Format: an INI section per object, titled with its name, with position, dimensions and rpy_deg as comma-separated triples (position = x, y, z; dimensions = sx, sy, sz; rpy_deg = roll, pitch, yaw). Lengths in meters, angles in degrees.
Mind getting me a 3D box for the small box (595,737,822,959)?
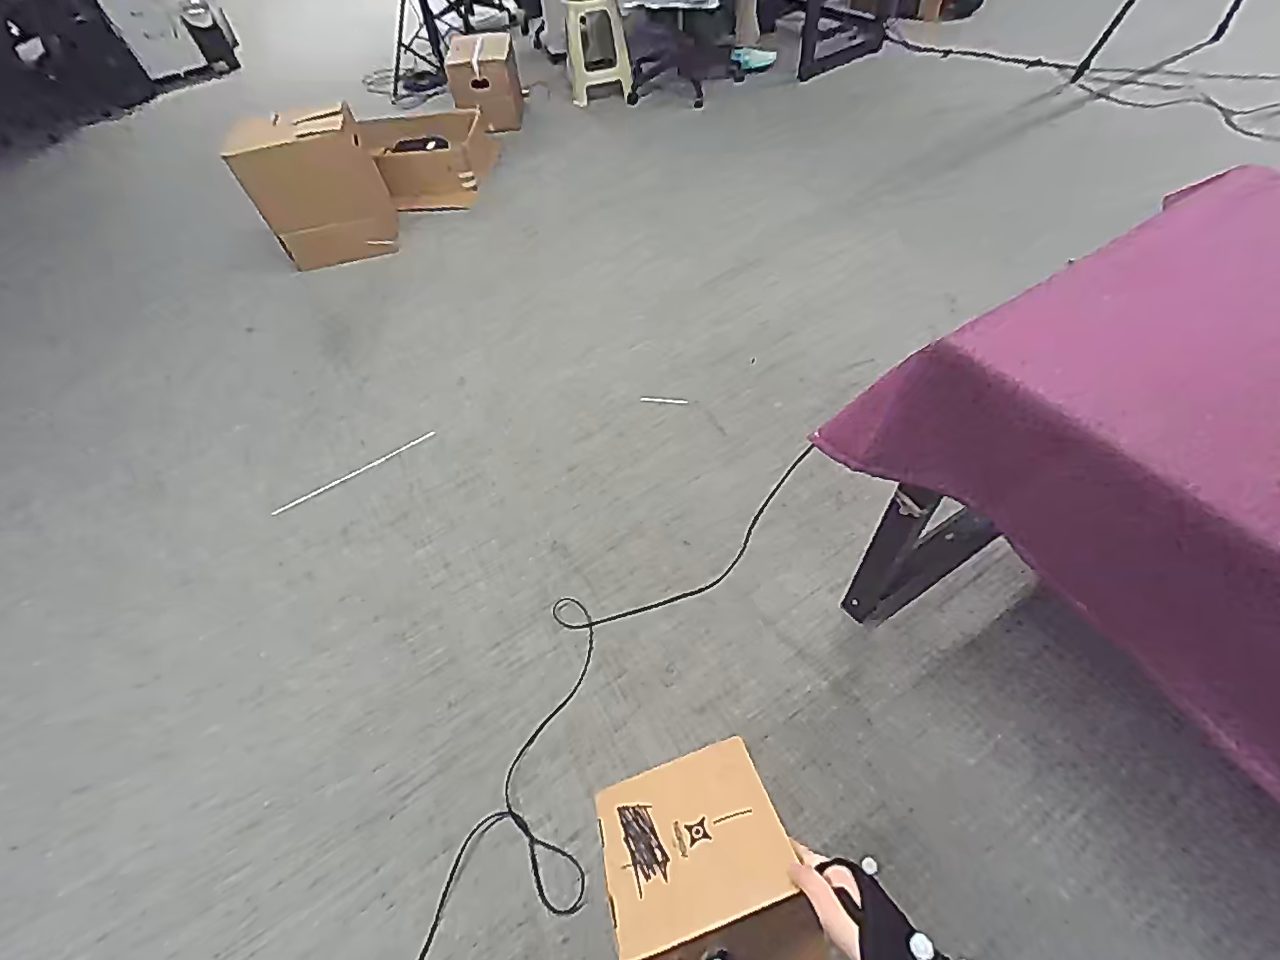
[small box]
position = 0.069, 0.421, 0.571
dimensions = 0.179, 0.176, 0.168
rpy_deg = -19, 26, -6
